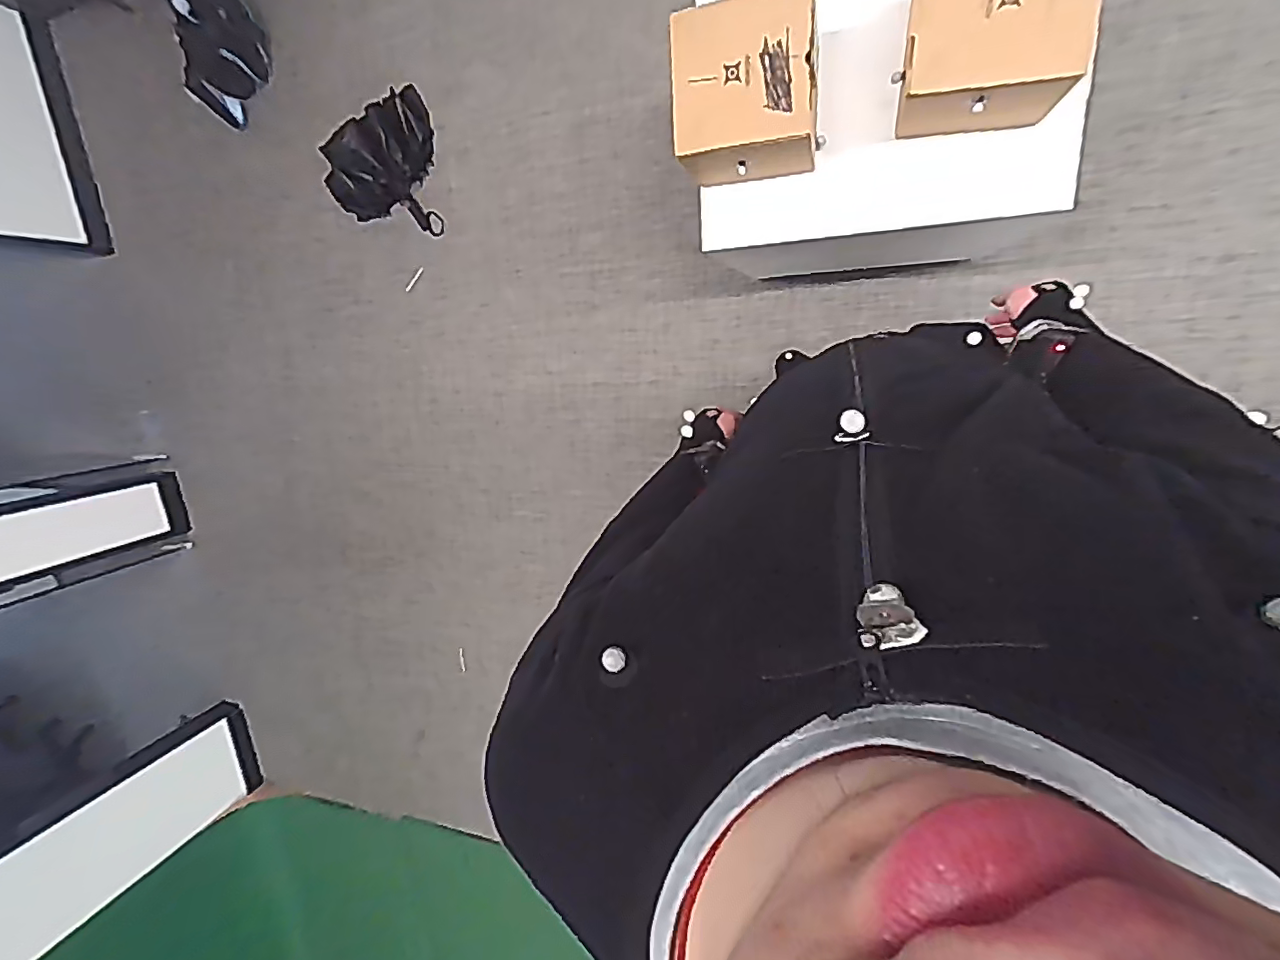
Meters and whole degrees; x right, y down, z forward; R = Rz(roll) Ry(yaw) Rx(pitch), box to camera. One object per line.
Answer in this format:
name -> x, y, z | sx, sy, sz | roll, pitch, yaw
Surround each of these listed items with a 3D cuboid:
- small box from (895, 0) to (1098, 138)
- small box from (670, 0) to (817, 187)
small box -> 0.413, -0.530, 0.646 | 0.179, 0.176, 0.168 | 6, 108, 19
small box -> 0.149, -0.522, 0.745 | 0.179, 0.176, 0.168 | 3, 105, 20
